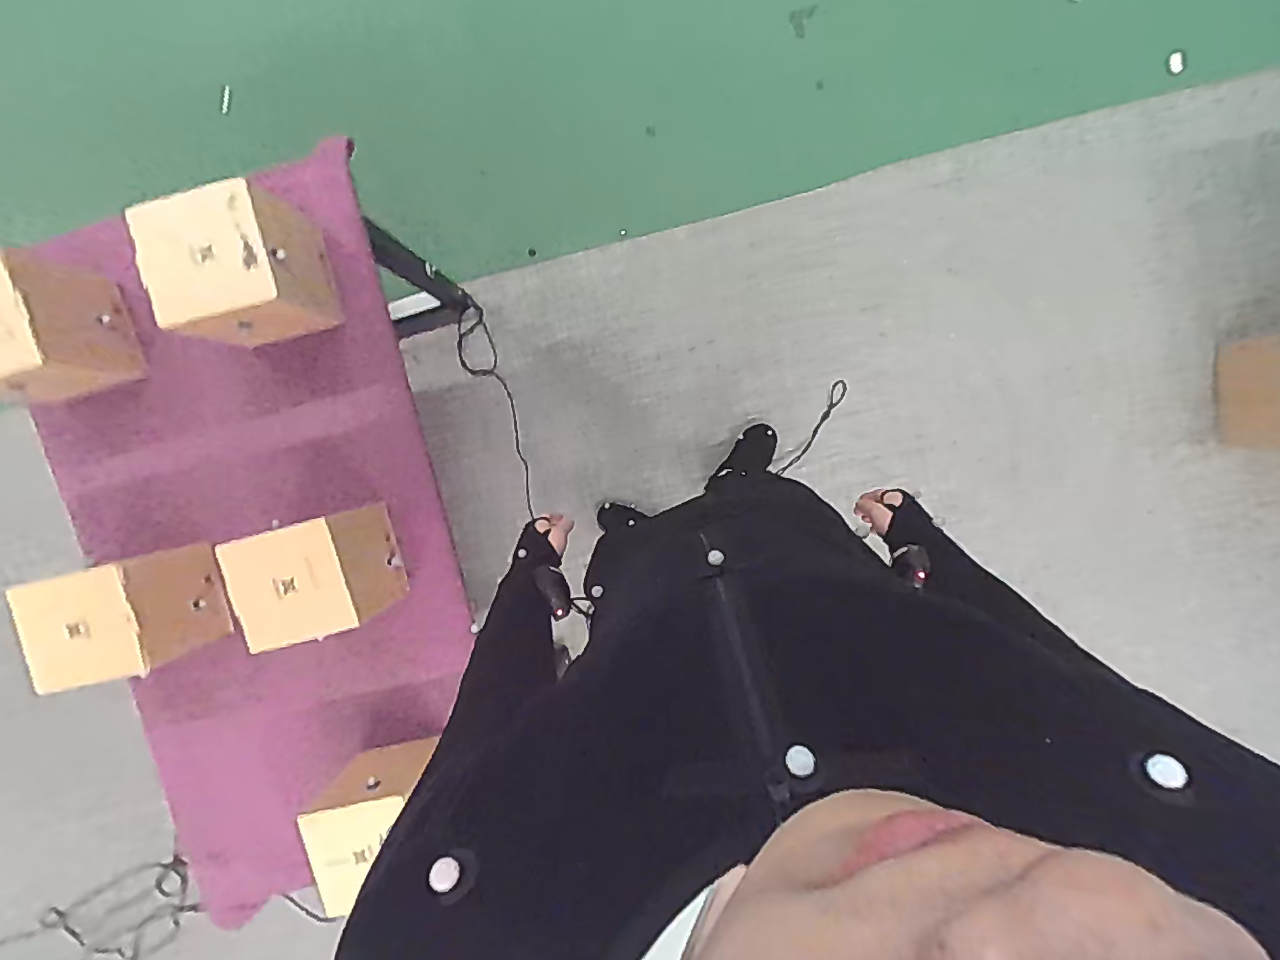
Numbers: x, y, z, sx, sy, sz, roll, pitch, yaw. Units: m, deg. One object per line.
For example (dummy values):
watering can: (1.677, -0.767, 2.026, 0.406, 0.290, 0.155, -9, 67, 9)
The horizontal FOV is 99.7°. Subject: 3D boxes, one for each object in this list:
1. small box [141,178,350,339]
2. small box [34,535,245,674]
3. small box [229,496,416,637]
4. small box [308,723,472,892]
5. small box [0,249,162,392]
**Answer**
small box: (-0.594, -0.326, 0.836, 0.179, 0.176, 0.168, -13, 96, 4)
small box: (-0.819, 0.198, 0.903, 0.179, 0.176, 0.168, -13, 94, 2)
small box: (-0.501, 0.131, 0.877, 0.179, 0.176, 0.168, -14, 95, 5)
small box: (-0.401, 0.535, 0.906, 0.179, 0.176, 0.168, -14, 94, 6)
small box: (-0.938, -0.241, 0.863, 0.179, 0.176, 0.168, -16, 97, 4)
